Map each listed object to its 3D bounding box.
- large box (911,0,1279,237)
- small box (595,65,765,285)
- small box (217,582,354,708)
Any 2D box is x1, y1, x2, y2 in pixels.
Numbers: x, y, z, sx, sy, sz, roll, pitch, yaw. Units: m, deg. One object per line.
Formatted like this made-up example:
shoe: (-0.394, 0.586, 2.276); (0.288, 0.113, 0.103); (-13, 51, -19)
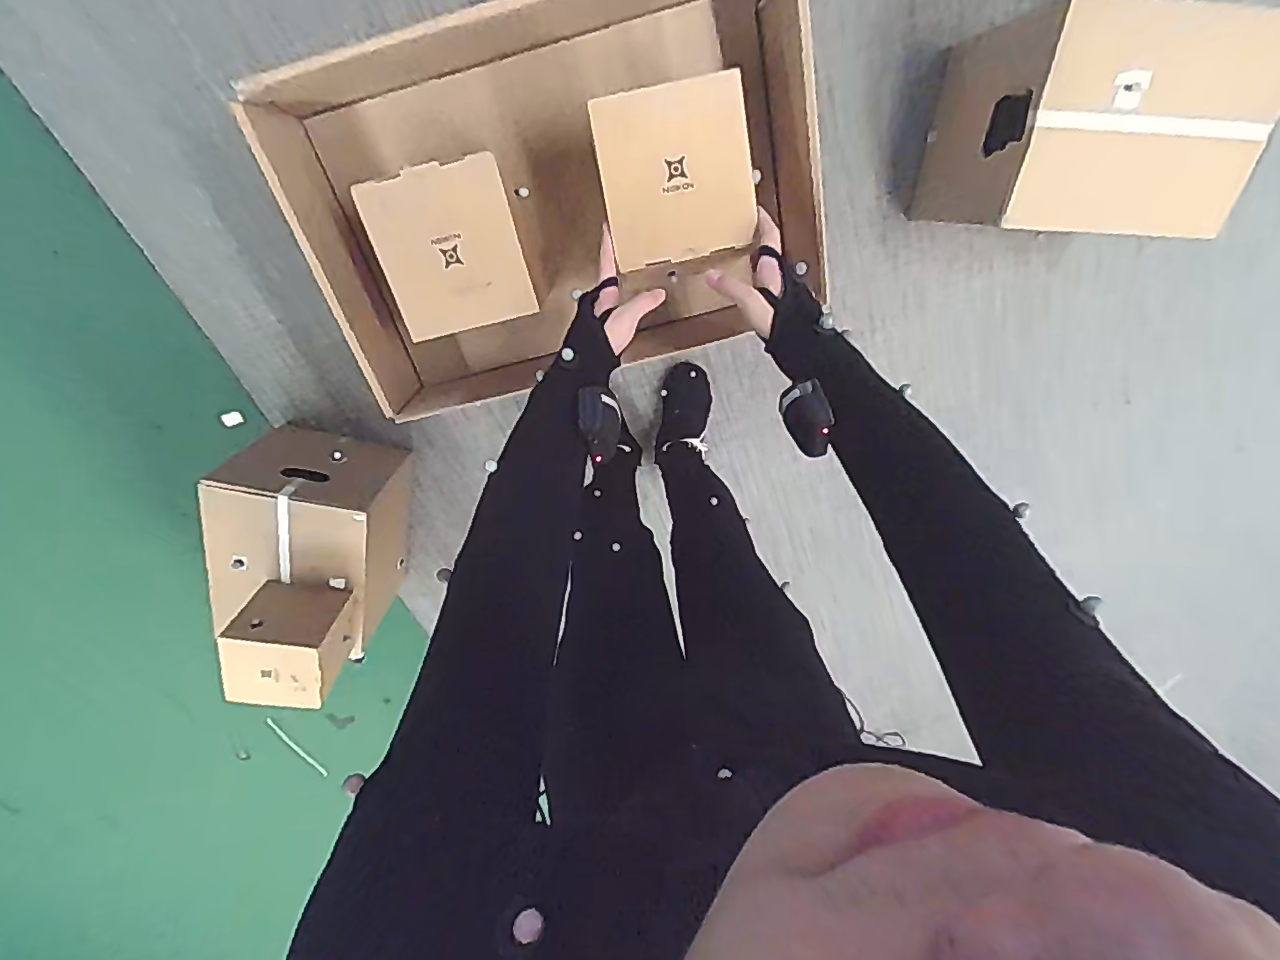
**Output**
large box: (0.797, -0.630, 0.989); (0.408, 0.320, 0.320); (1, 116, -4)
small box: (0.042, -0.351, 0.656); (0.168, 0.176, 0.179); (-10, 103, 1)
small box: (-0.700, 0.325, 1.085); (0.179, 0.176, 0.168); (10, 116, -11)
